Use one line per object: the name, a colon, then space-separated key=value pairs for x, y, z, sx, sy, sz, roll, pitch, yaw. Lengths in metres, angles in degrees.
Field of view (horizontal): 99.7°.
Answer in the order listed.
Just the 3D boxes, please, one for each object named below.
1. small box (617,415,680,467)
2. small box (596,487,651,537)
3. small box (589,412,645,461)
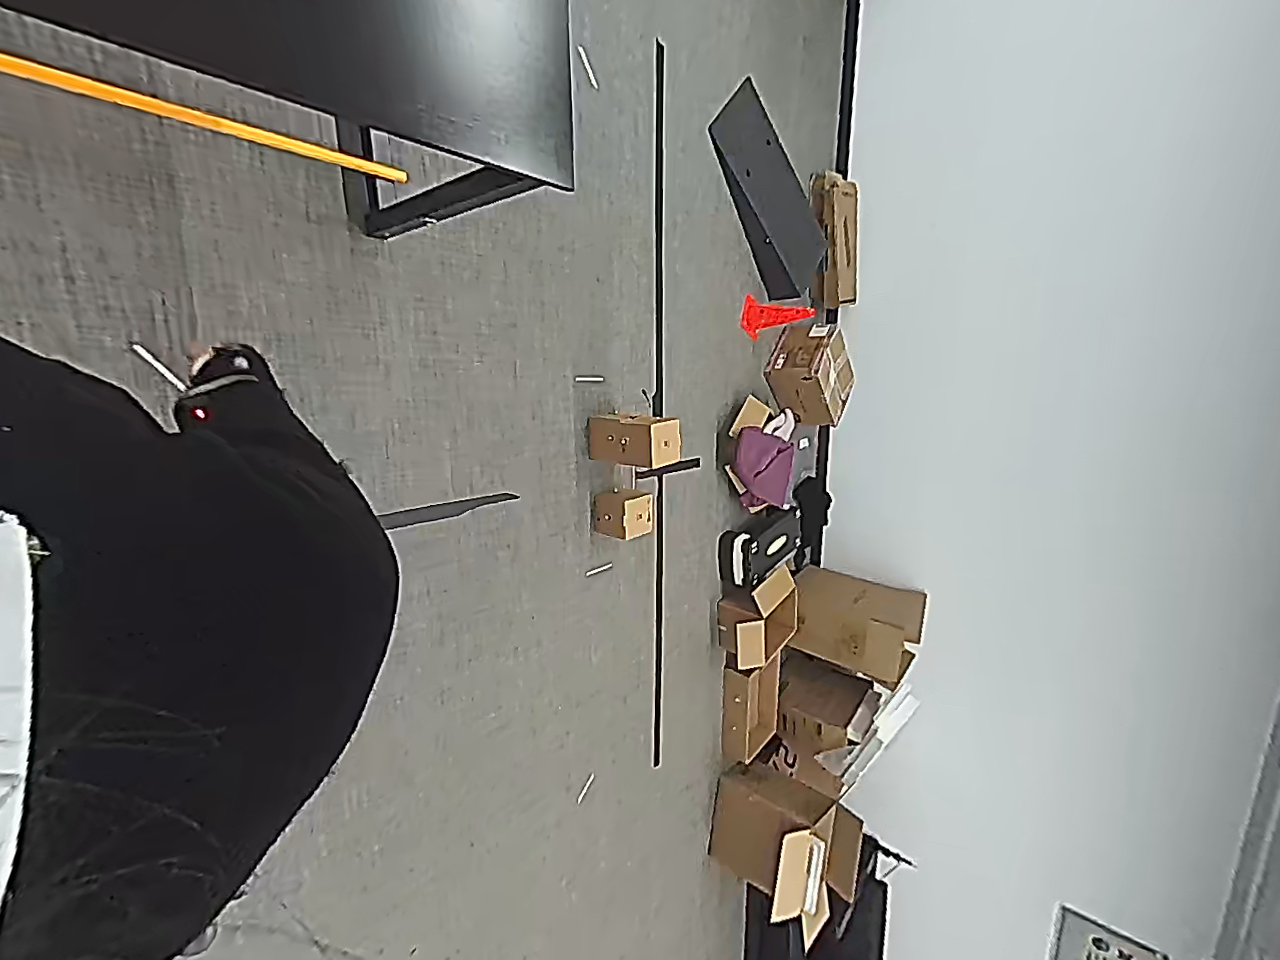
small box: x=0.032 y=-0.153 z=2.049 sx=0.179 sy=0.176 sz=0.168 roll=-18 pitch=110 yaw=-46
small box: x=-0.070 y=0.129 z=2.244 sx=0.179 sy=0.176 sz=0.168 roll=-13 pitch=107 yaw=-48
small box: x=-0.091 y=-0.178 z=2.152 sx=0.168 sy=0.176 sz=0.179 roll=-16 pitch=110 yaw=-48
